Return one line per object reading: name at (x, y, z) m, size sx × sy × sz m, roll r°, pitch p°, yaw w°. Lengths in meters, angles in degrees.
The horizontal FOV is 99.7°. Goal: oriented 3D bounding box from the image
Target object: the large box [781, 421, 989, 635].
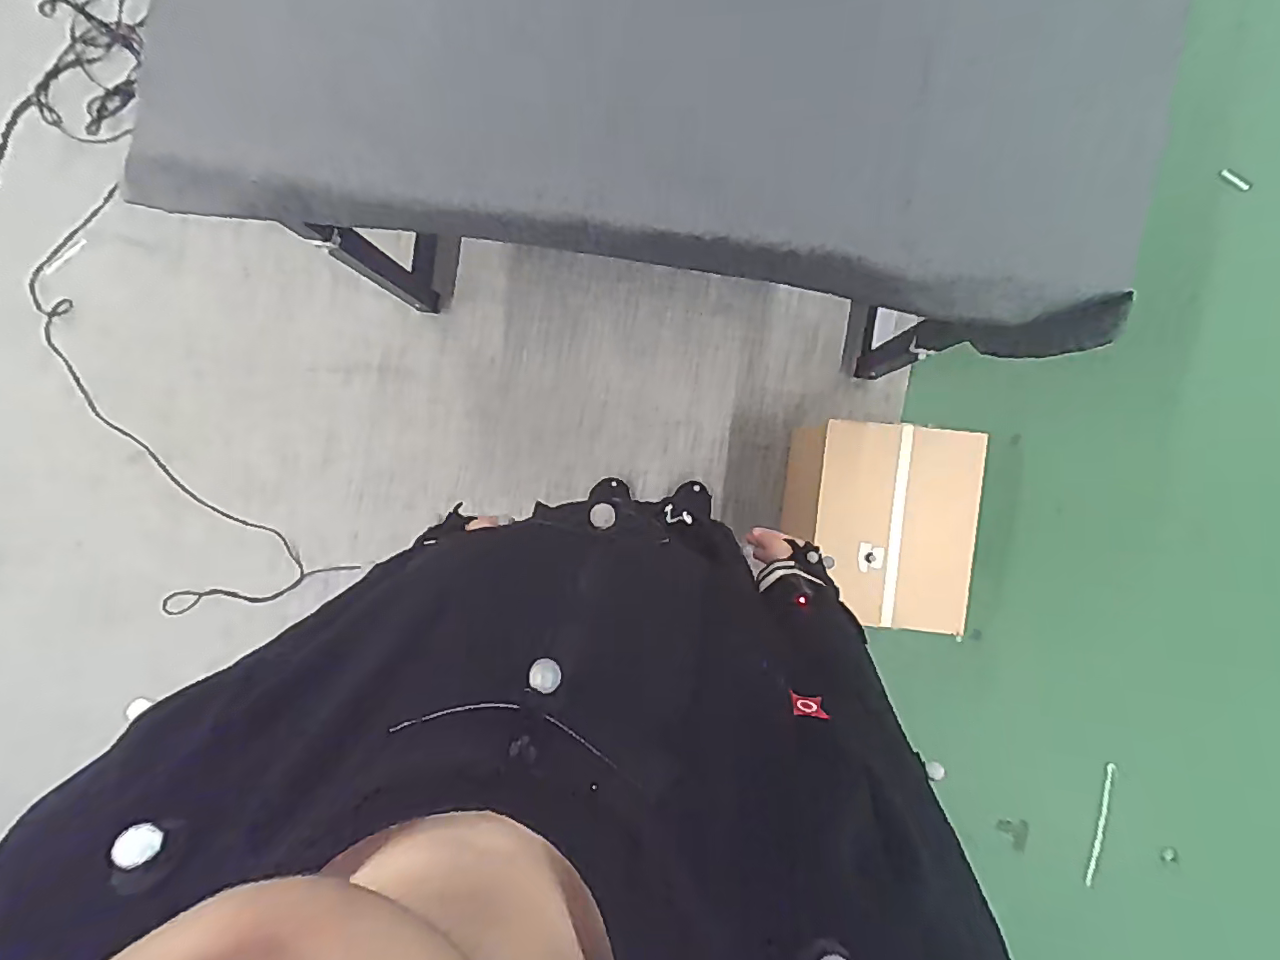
large box at (0.515, 0.088, 1.206) m, size 0.320 × 0.320 × 0.408 m, roll 6°, pitch 92°, yaw 3°
